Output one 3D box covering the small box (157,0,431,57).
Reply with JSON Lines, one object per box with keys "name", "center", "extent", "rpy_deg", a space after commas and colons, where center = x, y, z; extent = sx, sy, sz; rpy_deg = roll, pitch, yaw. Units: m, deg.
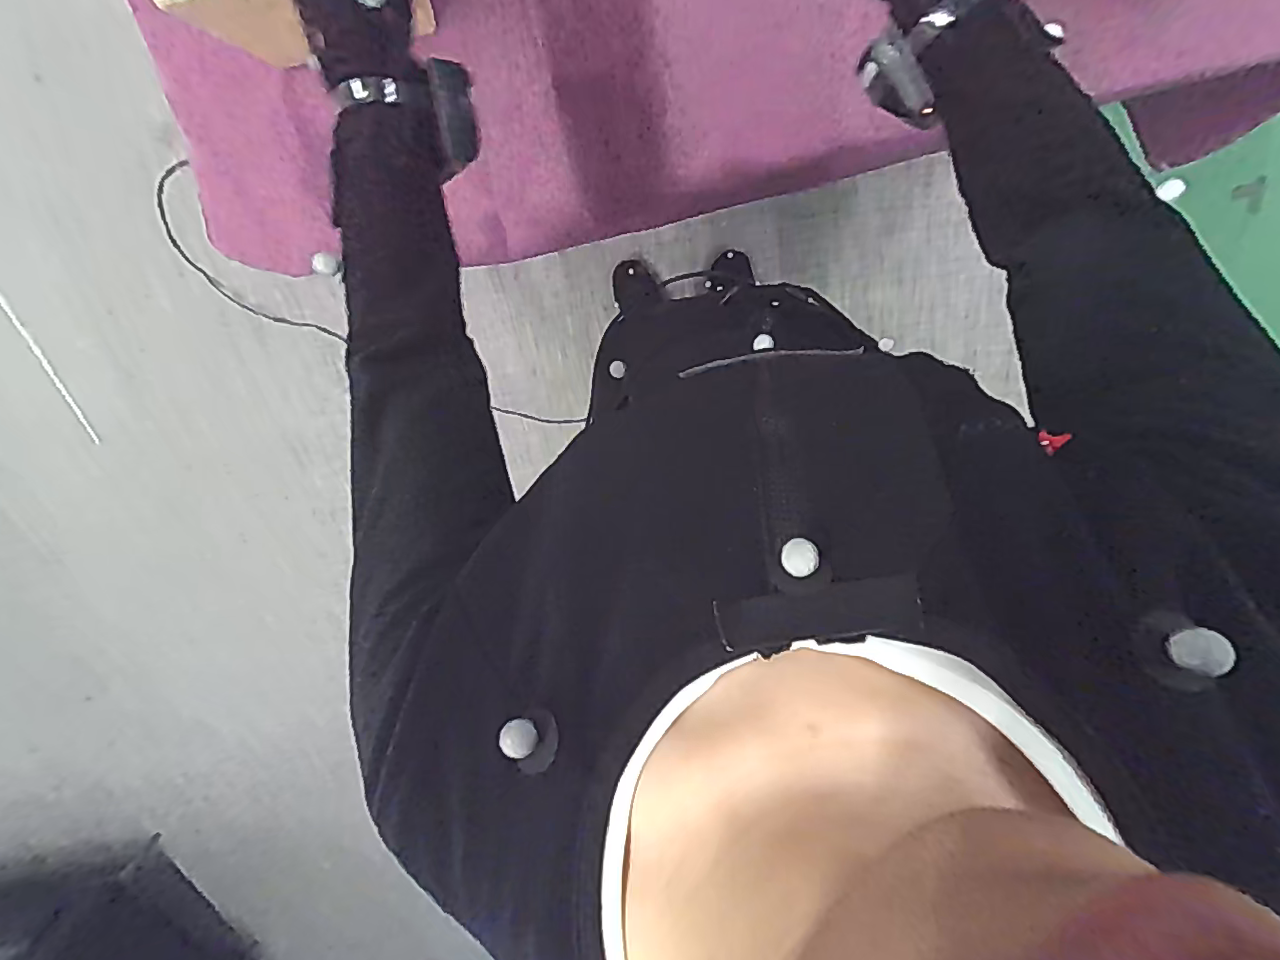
{"name": "small box", "center": [-0.292, -0.470, 0.430], "extent": [0.168, 0.176, 0.179], "rpy_deg": [-11, 115, 3]}
